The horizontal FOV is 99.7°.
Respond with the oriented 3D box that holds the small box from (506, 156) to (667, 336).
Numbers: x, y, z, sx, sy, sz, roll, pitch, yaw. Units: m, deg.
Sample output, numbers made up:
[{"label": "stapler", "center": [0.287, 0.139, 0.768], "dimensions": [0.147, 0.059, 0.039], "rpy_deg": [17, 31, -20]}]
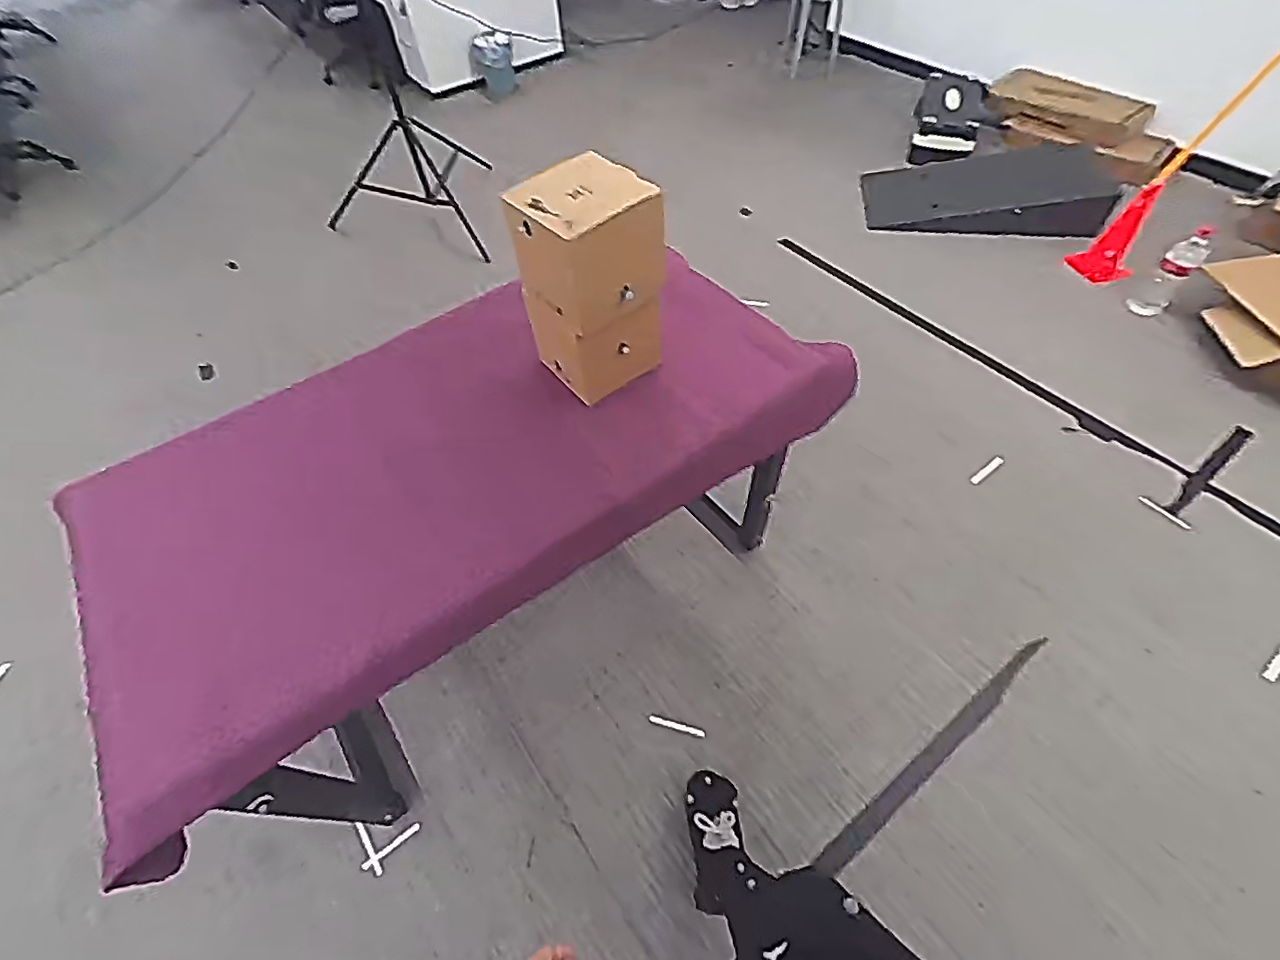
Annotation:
[{"label": "small box", "center": [-0.077, -0.360, 0.838], "dimensions": [0.179, 0.176, 0.168], "rpy_deg": [-37, 61, -21]}]
